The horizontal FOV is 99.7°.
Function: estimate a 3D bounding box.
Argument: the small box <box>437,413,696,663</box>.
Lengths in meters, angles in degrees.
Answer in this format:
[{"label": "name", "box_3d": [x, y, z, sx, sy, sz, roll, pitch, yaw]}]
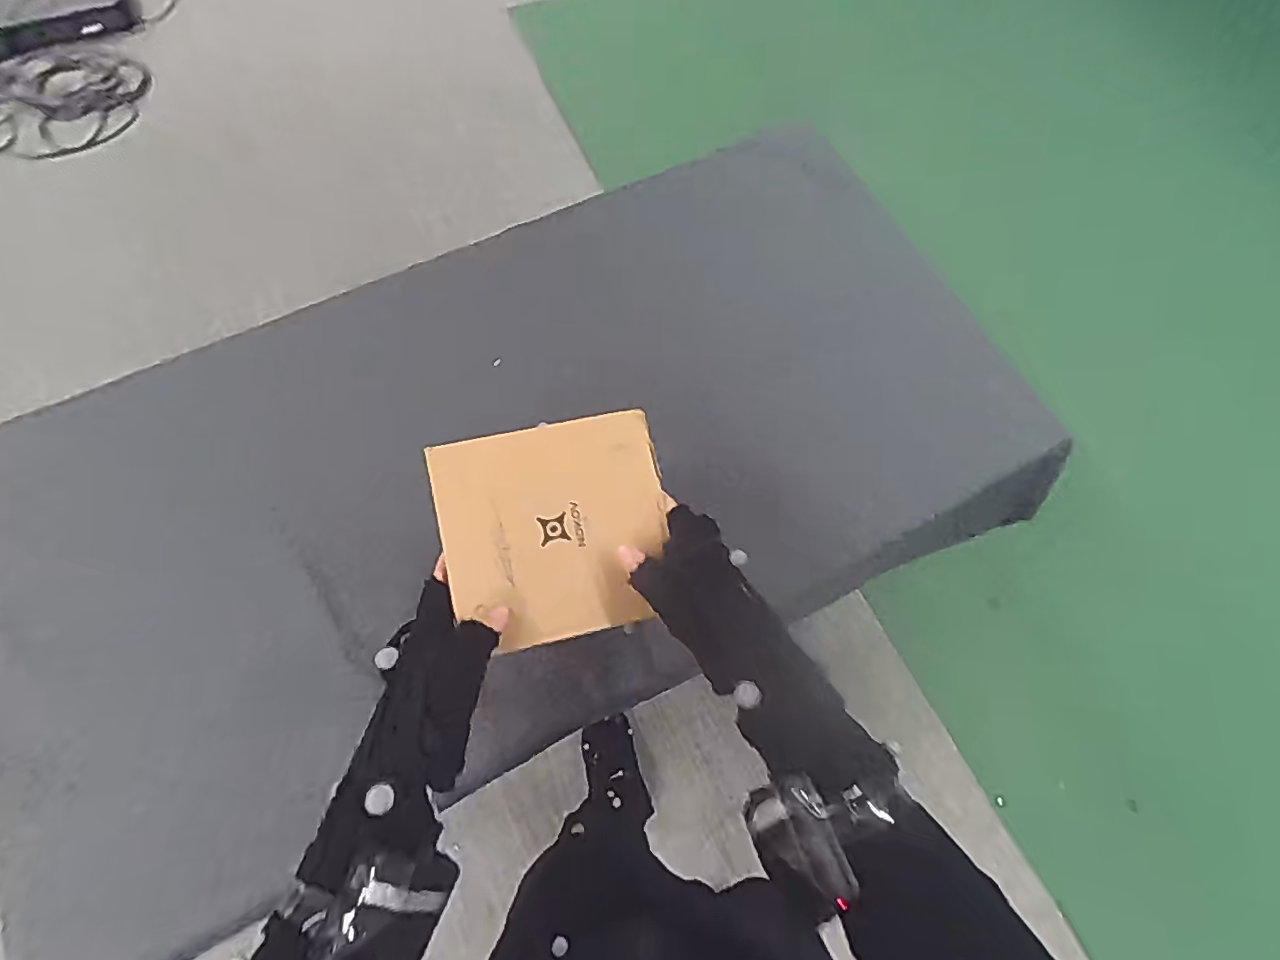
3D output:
[{"label": "small box", "box_3d": [-0.065, 0.053, 0.494, 0.179, 0.176, 0.168, -12, 81, -7]}]
